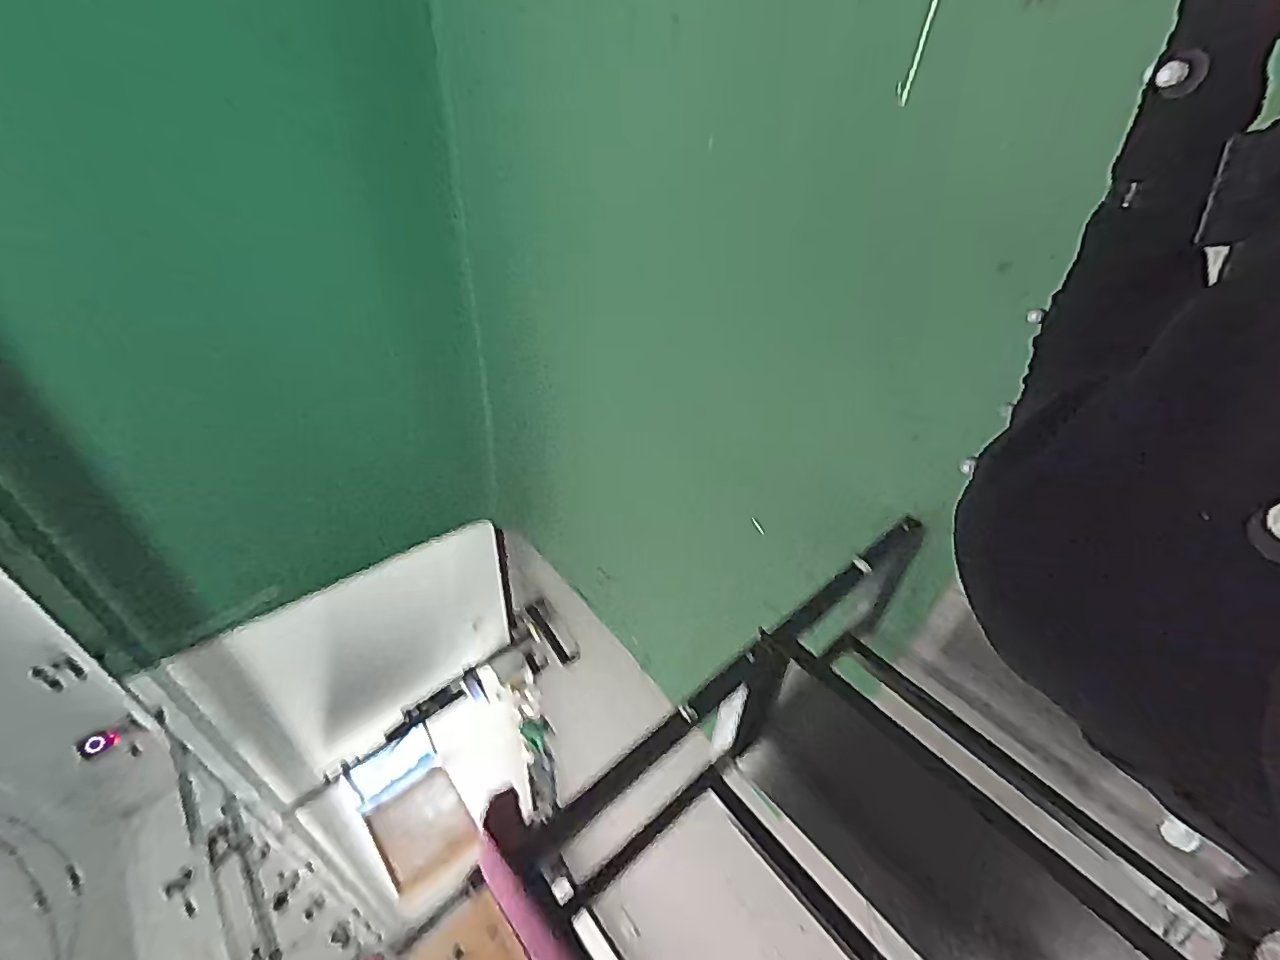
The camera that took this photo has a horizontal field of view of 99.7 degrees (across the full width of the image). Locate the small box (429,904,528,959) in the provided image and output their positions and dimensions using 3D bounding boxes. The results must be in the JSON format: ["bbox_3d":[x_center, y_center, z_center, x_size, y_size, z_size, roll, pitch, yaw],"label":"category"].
[{"bbox_3d":[-0.259,0.846,0.881,0.168,0.176,0.179,35,140,35],"label":"small box"}]
